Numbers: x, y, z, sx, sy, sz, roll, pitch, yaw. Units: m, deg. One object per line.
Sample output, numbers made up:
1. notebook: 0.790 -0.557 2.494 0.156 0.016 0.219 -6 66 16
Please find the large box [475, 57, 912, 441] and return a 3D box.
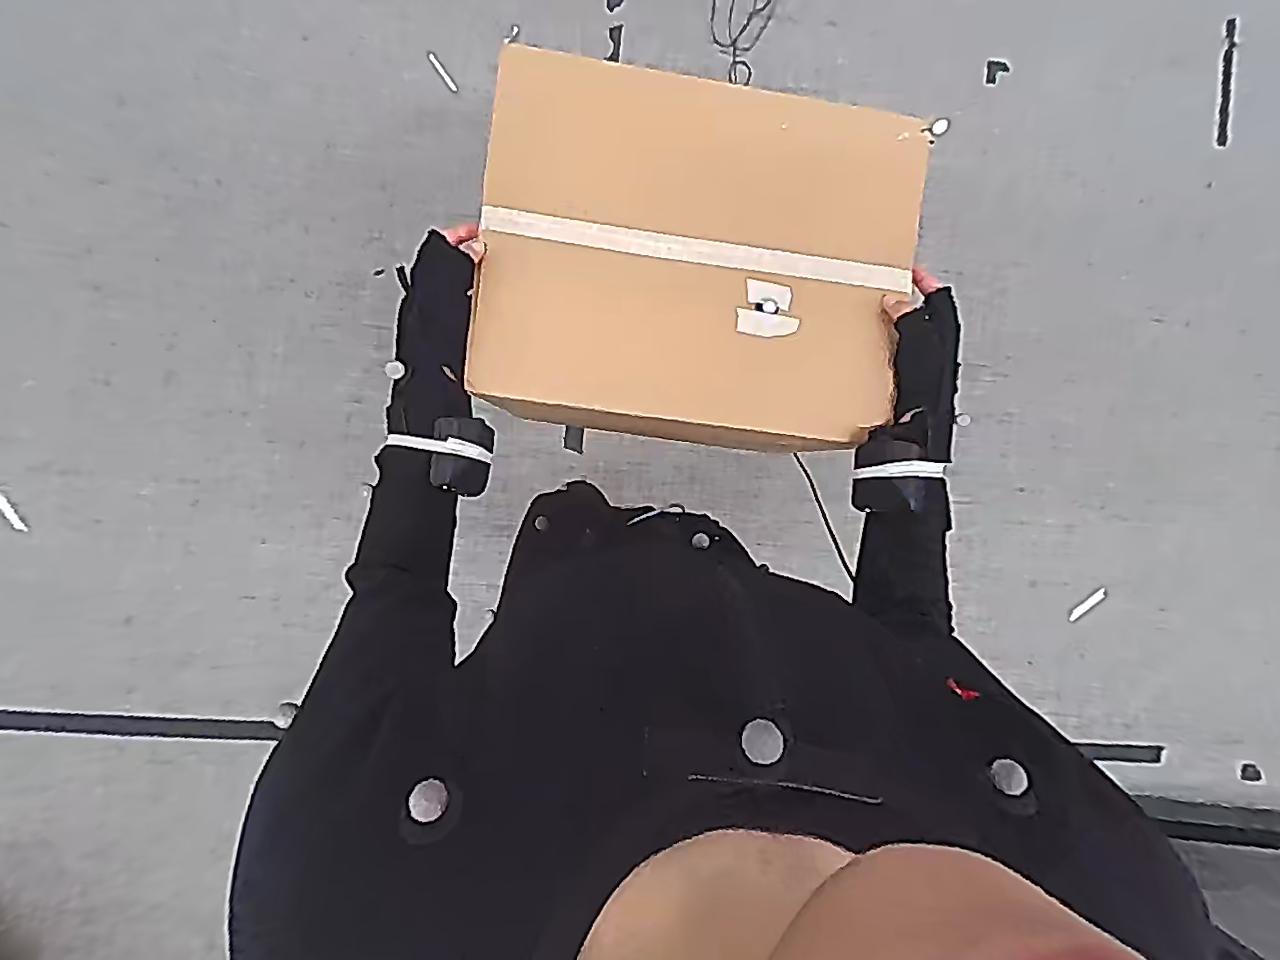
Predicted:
1. large box: 0.042 -0.226 0.666 0.408 0.320 0.320 7 93 -5
